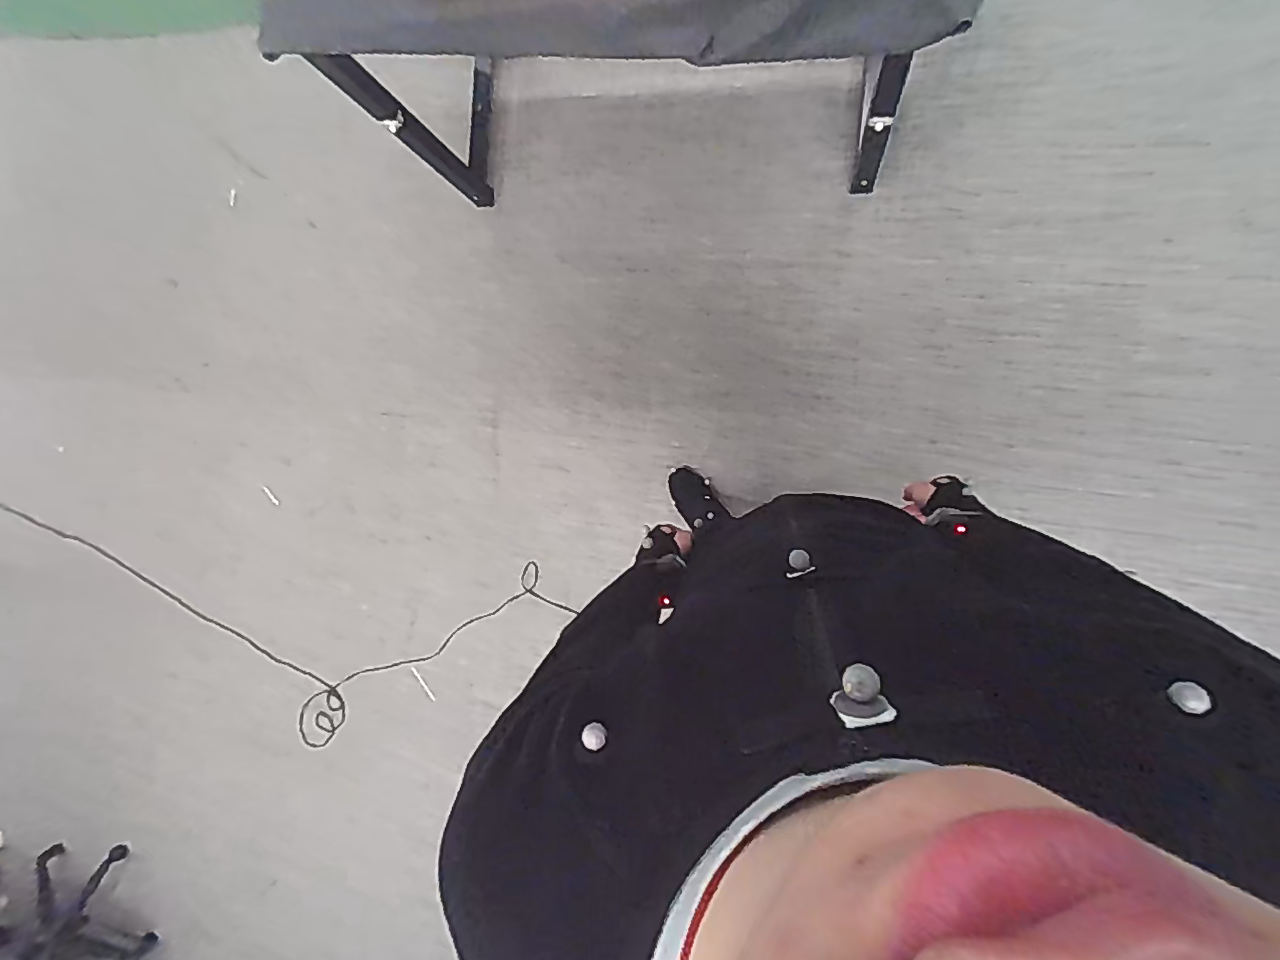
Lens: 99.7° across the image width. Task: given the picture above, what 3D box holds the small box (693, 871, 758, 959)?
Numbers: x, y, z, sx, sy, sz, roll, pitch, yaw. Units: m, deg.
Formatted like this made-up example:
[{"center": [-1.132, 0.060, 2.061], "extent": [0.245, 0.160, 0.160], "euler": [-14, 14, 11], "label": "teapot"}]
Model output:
[{"center": [0.239, 1.237, 1.494], "extent": [0.168, 0.176, 0.179], "euler": [1, 90, 13], "label": "small box"}]
